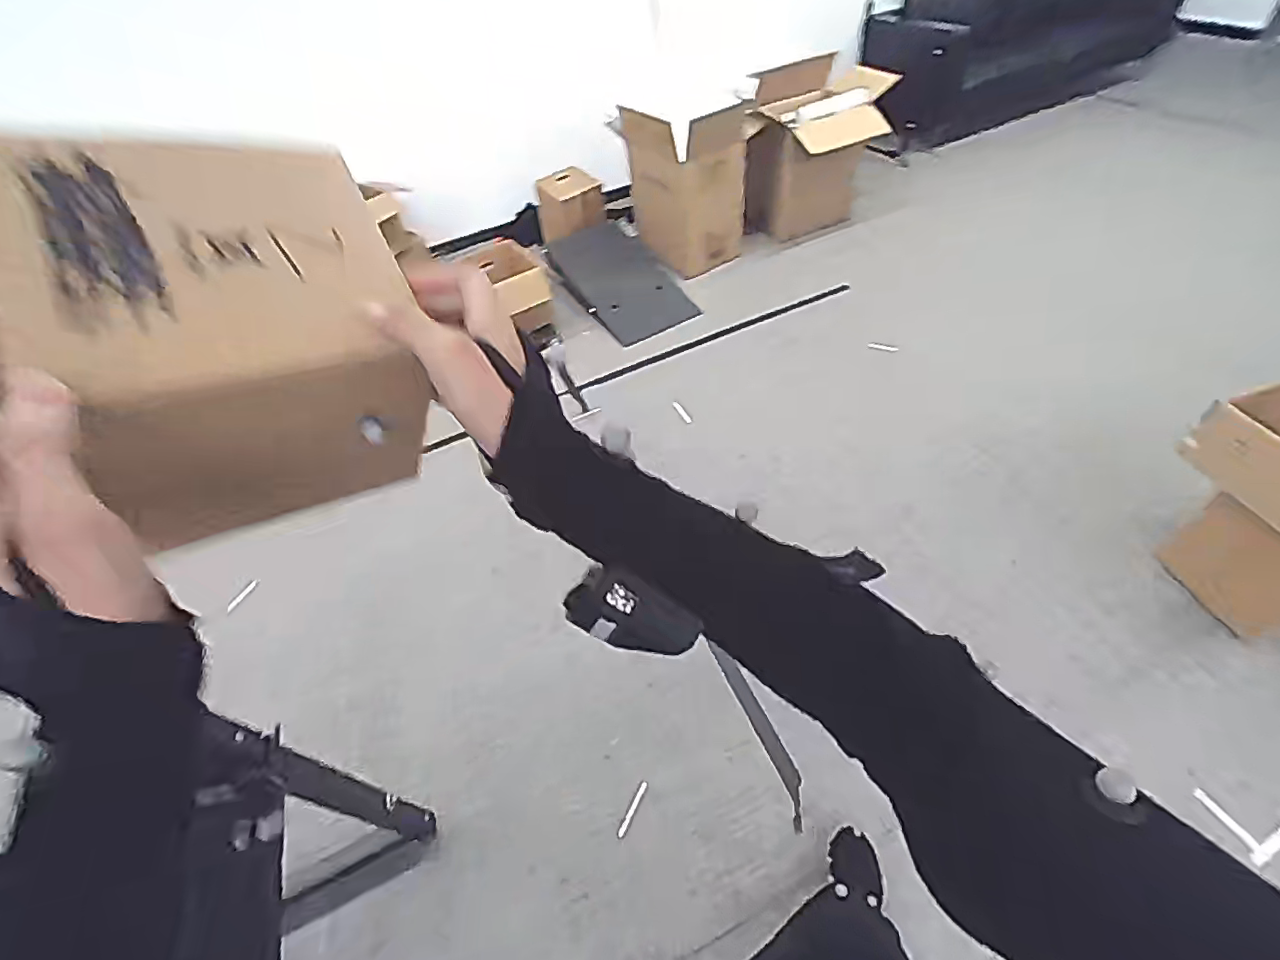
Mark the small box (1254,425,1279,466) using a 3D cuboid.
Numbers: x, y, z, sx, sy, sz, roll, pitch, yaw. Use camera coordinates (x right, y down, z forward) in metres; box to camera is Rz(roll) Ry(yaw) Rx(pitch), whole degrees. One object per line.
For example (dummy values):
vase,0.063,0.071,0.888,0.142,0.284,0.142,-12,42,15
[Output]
small box,1.702,-0.096,1.322,0.168,0.176,0.179,-18,49,-7
